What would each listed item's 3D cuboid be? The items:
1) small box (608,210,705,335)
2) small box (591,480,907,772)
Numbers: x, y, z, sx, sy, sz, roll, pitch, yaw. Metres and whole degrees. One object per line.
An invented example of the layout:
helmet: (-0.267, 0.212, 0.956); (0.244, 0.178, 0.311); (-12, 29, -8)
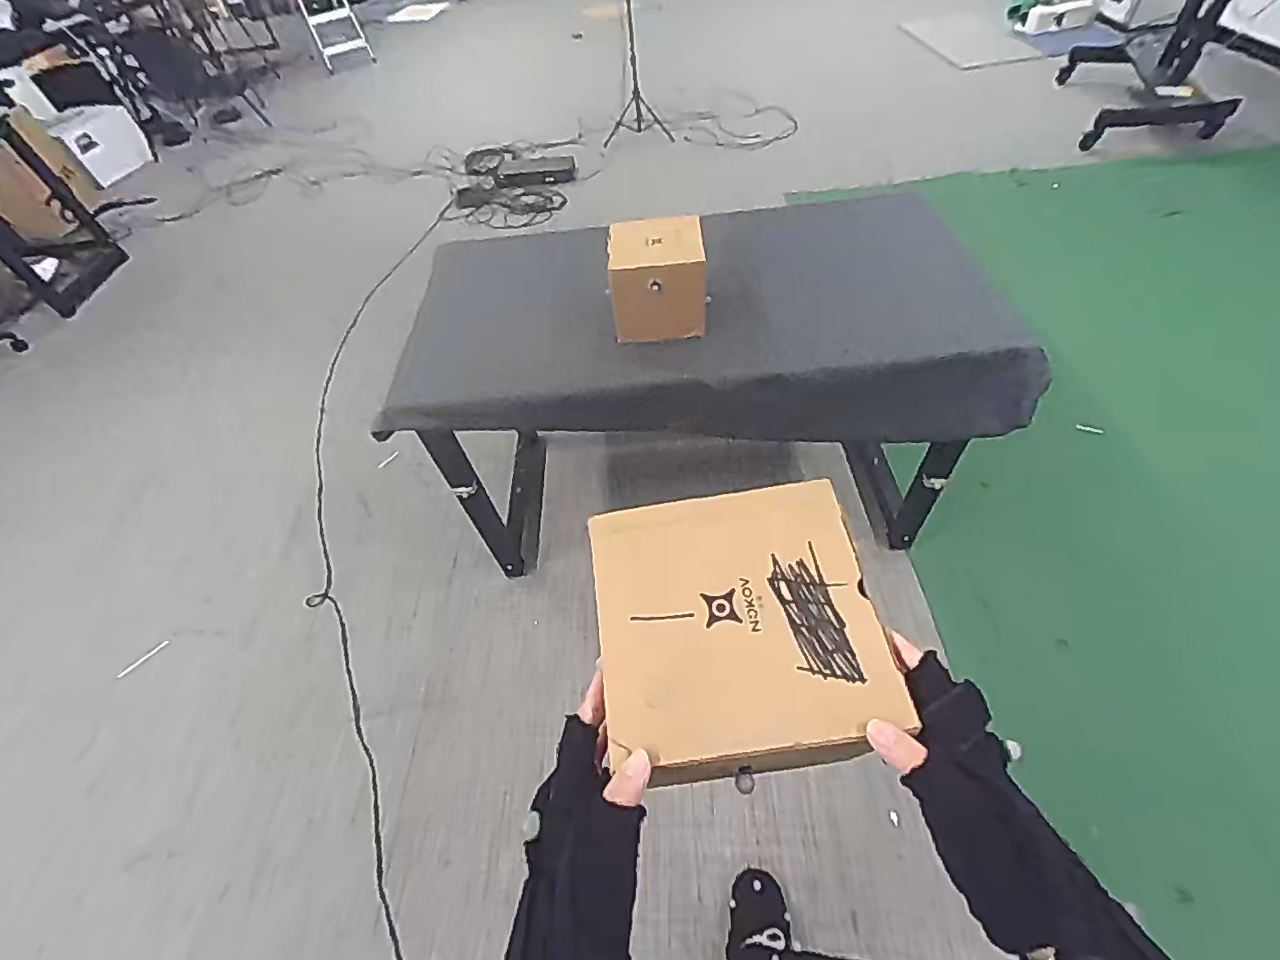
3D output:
small box: (0.035, -0.401, 1.059); (0.179, 0.176, 0.168); (-3, 54, 2)
small box: (0.064, 0.120, 0.415); (0.179, 0.176, 0.168); (-8, 59, 0)
